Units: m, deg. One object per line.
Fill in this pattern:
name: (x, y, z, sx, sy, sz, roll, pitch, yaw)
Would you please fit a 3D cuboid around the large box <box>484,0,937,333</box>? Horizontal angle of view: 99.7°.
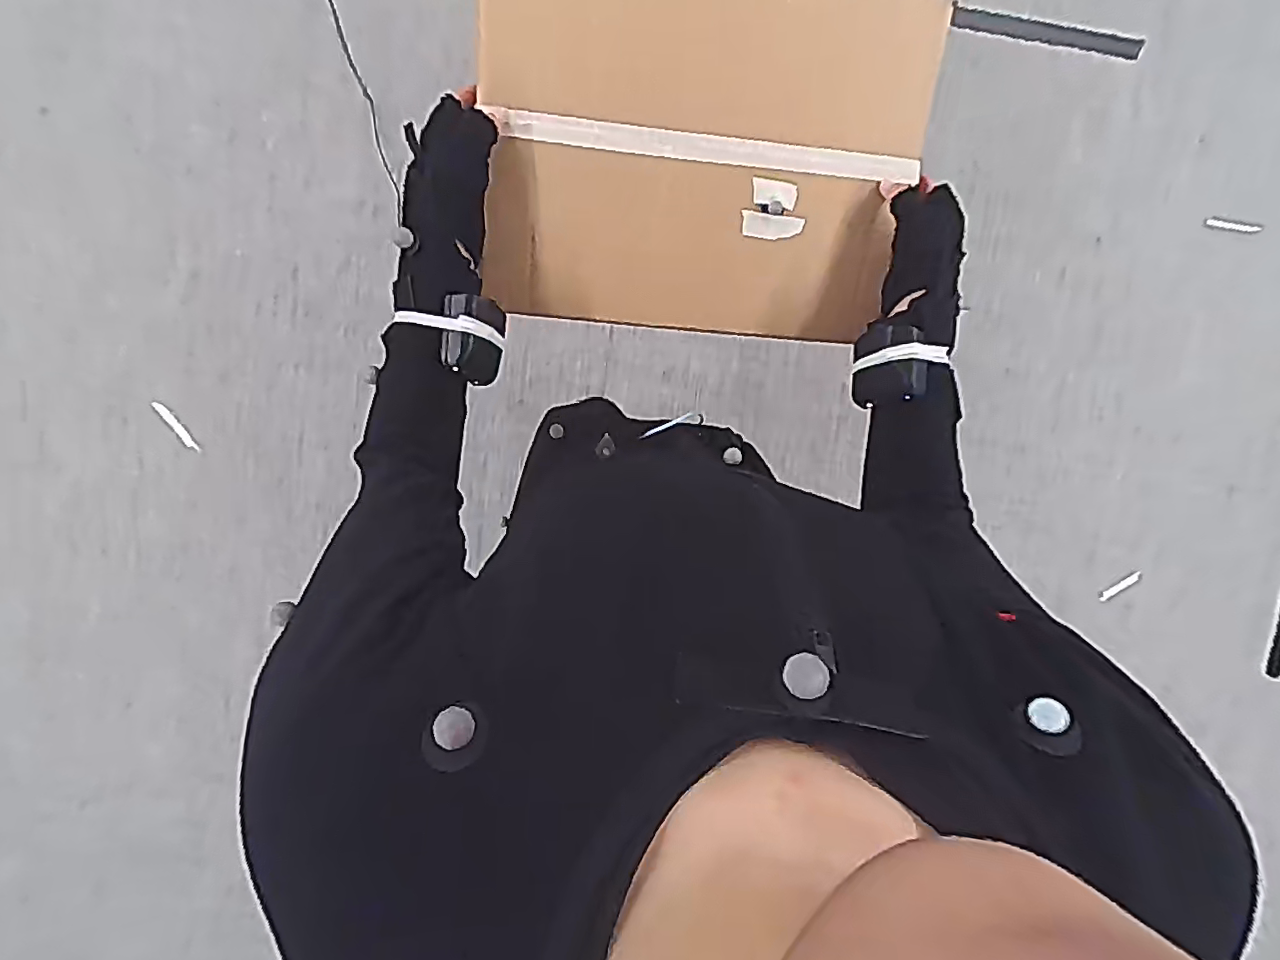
large box: (0.043, -0.350, 0.641, 0.408, 0.320, 0.320, 3, 107, -7)
